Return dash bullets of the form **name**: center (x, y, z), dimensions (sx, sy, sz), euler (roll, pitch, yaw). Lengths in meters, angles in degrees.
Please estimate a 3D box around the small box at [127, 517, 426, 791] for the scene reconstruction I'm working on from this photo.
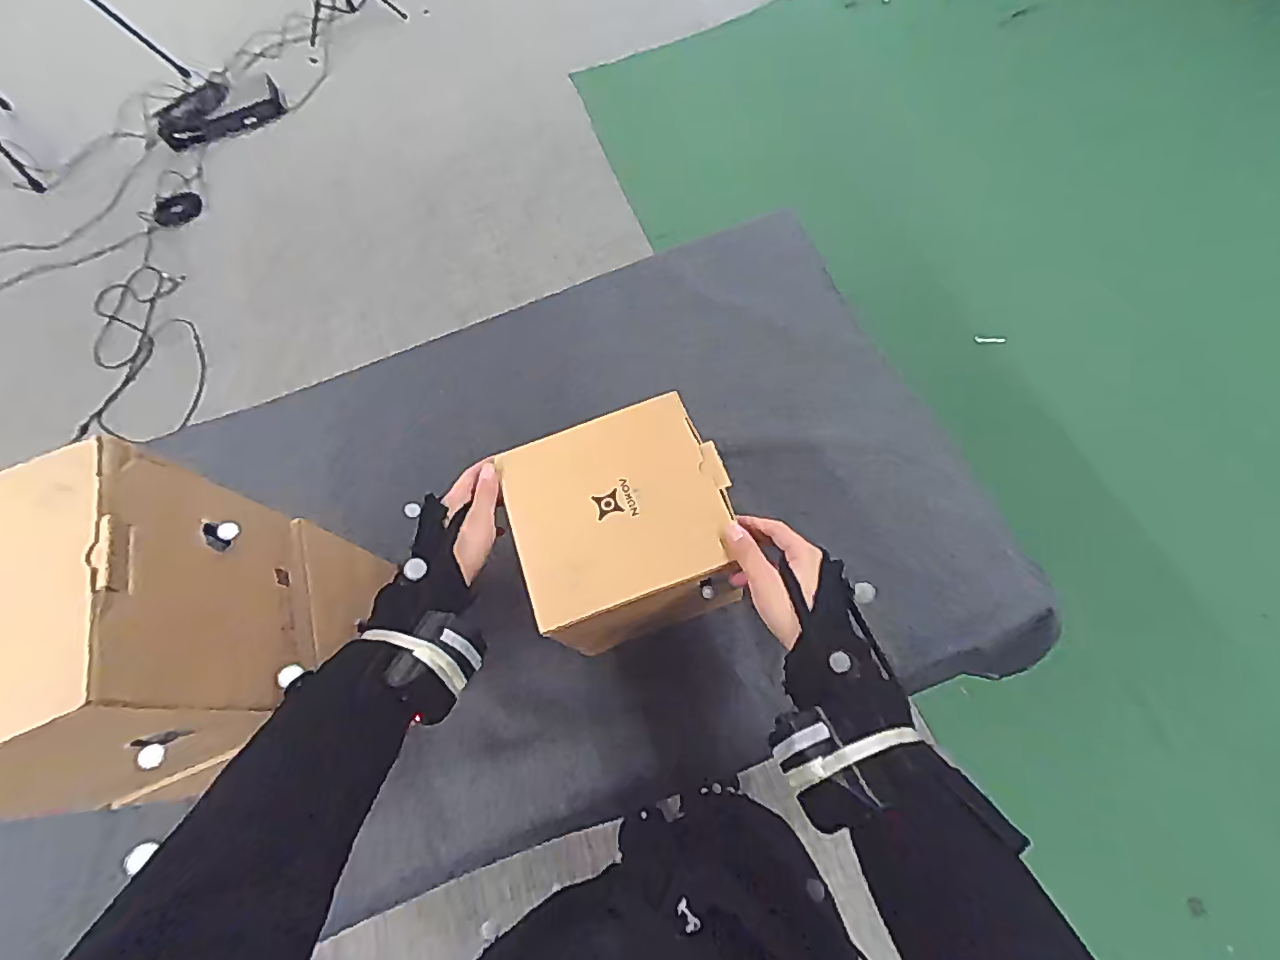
- **small box**: center (-0.330, 0.165, 0.513), dimensions (0.168, 0.176, 0.179), euler (-22, 66, -3)

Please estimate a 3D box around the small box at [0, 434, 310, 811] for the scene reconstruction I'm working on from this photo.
- **small box**: center (-0.354, 0.102, 0.364), dimensions (0.179, 0.176, 0.168), euler (-24, 64, -2)
